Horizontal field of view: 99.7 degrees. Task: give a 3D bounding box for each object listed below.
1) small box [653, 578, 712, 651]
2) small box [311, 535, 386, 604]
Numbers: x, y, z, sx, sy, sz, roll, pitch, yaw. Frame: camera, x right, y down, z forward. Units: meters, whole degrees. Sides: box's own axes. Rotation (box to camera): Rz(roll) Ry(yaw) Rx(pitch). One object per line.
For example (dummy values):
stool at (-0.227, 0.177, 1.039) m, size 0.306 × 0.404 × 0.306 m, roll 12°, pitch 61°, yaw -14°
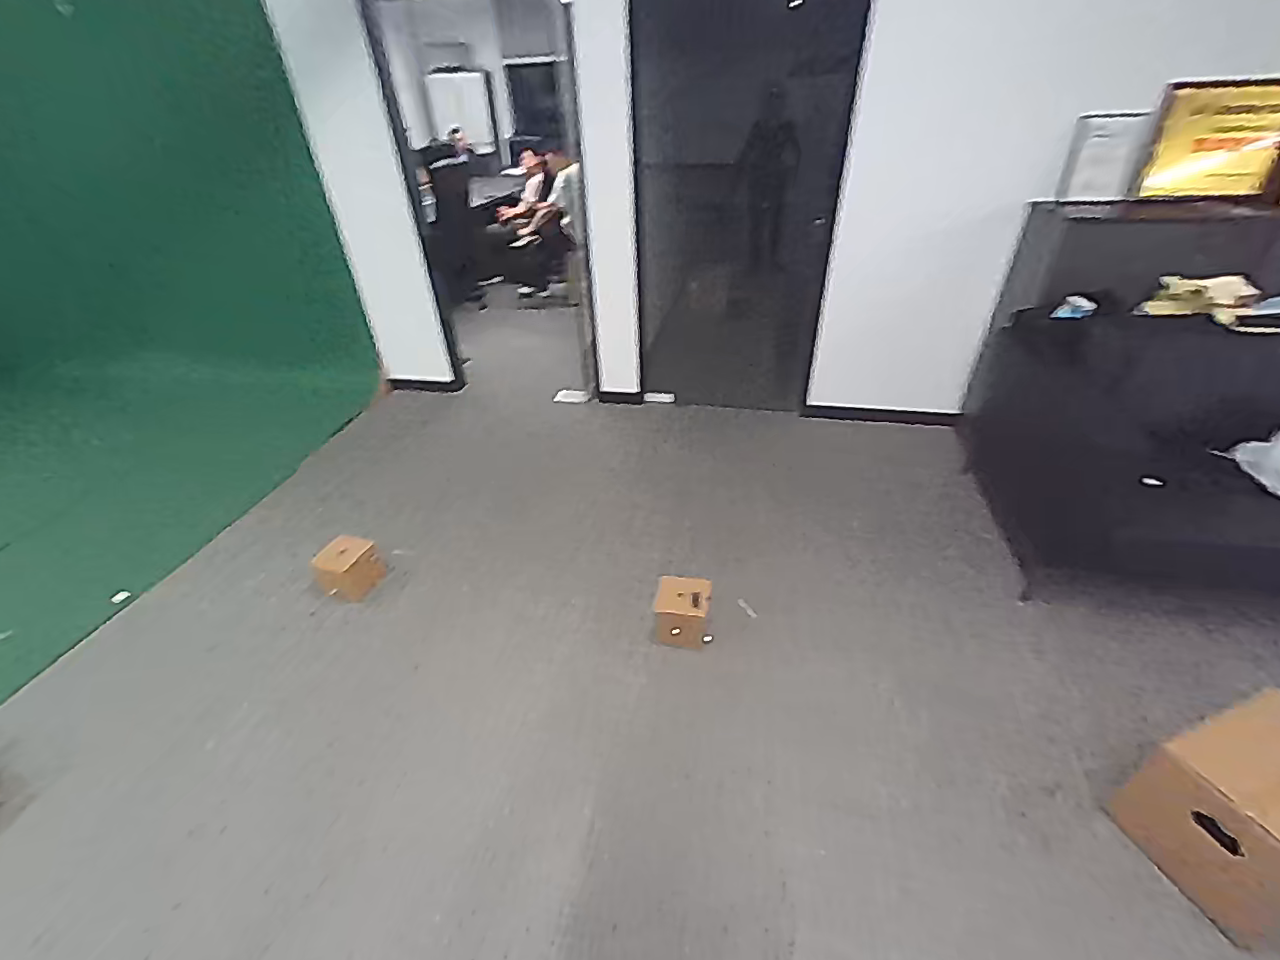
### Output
small box at (0.147, 0.462, 1.847) m, size 0.179 × 0.176 × 0.168 m, roll 6°, pitch 36°, yaw 12°
small box at (-1.100, 0.340, 2.060) m, size 0.168 × 0.176 × 0.179 m, roll 9°, pitch 37°, yaw 15°
